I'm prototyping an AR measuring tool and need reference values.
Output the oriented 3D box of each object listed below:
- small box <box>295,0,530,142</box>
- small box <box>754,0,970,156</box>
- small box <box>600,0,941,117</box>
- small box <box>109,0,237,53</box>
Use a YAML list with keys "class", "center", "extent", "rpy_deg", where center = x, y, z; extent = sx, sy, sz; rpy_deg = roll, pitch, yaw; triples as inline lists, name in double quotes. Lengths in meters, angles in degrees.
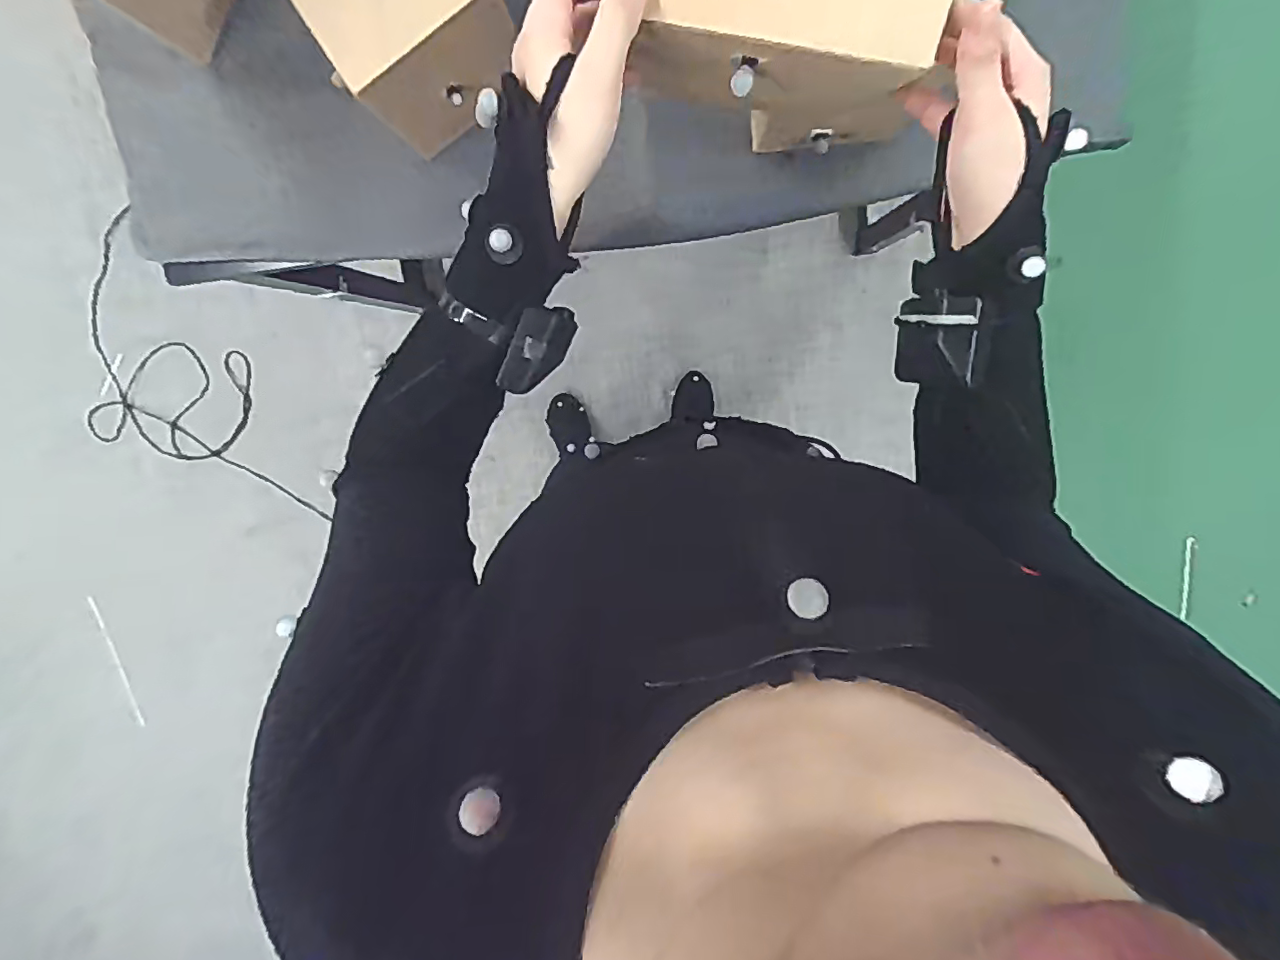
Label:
- class: "small box"
  center: [-0.238, -0.489, 0.559]
  extent: [0.168, 0.176, 0.179]
  rpy_deg: [-31, 99, 8]
- class: "small box"
  center: [0.206, -0.462, 0.547]
  extent: [0.168, 0.176, 0.179]
  rpy_deg: [-5, 102, 5]
- class: "small box"
  center: [0.080, -0.335, 0.324]
  extent: [0.179, 0.176, 0.168]
  rpy_deg: [9, 116, -1]
- class: "small box"
  center: [-0.548, -0.596, 0.550]
  extent: [0.179, 0.176, 0.168]
  rpy_deg: [33, 102, -5]
